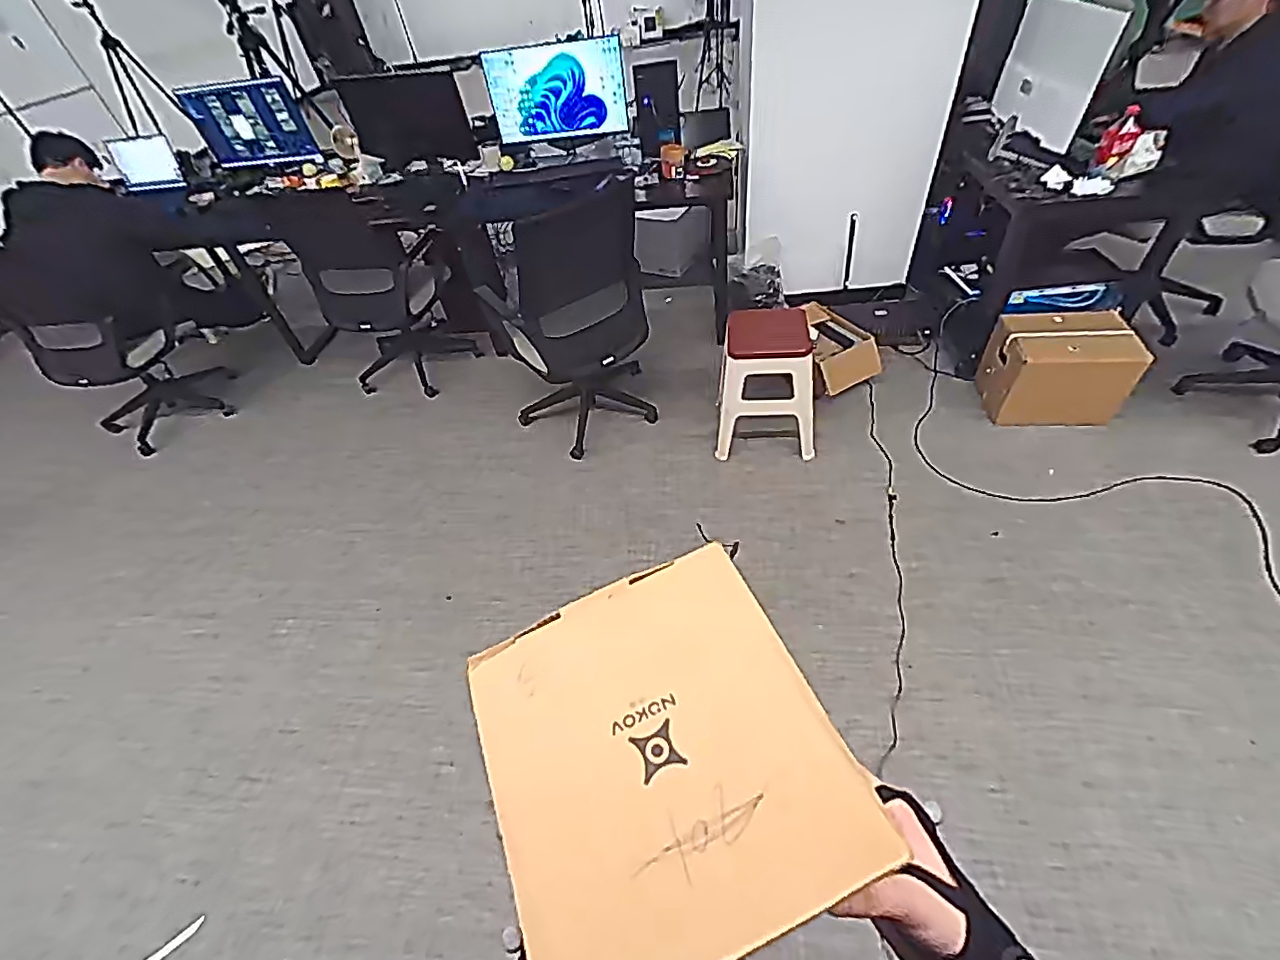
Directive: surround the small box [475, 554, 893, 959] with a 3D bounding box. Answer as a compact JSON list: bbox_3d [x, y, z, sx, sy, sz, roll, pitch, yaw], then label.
[{"bbox_3d":[0.019,0.184,0.343,0.168,0.176,0.179,-24,53,-6],"label":"small box"}]
